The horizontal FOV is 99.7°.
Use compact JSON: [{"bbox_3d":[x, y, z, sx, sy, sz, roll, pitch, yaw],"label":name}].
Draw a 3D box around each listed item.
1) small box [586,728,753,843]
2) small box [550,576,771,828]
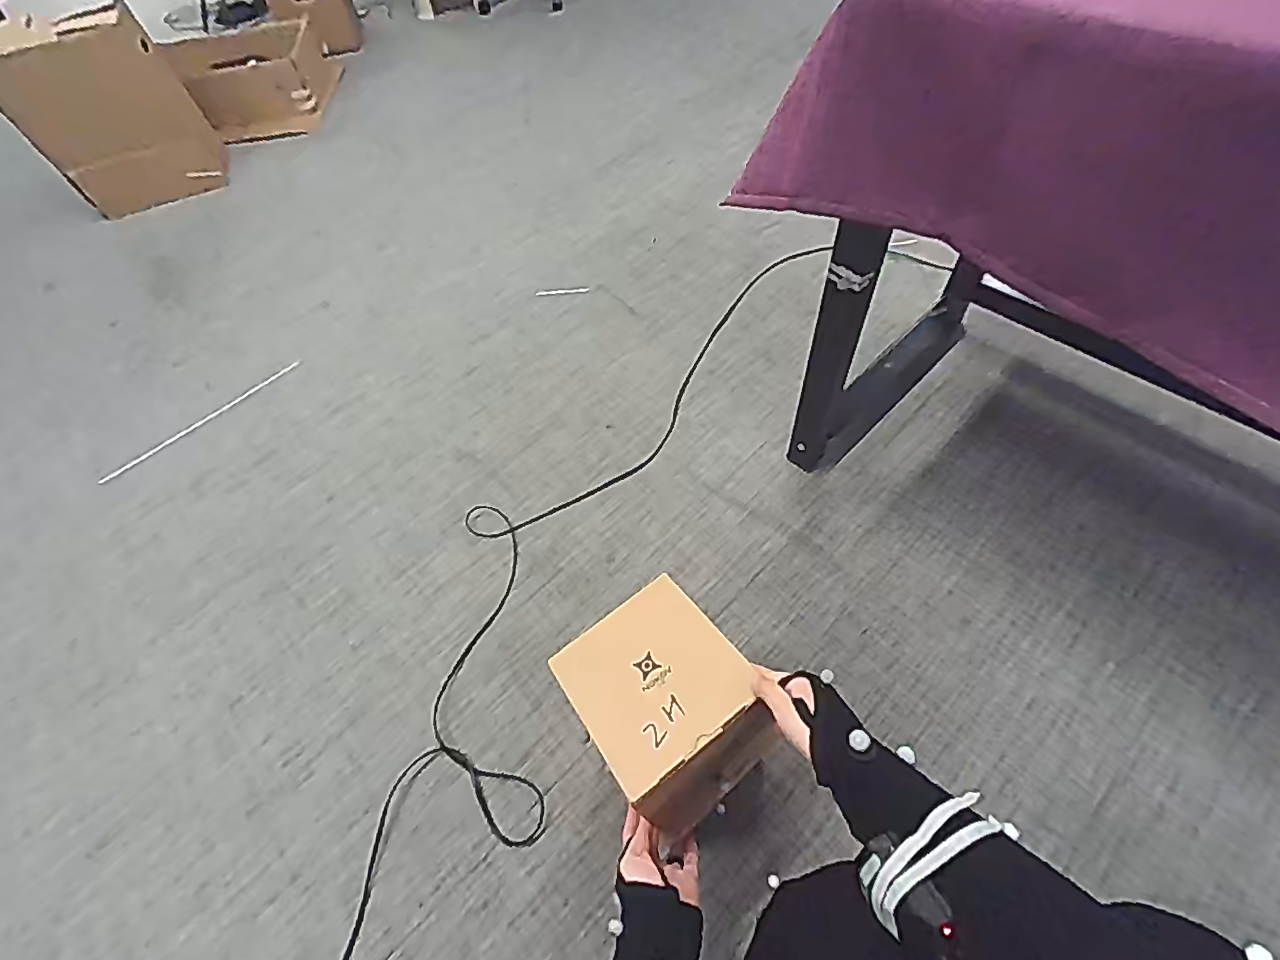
[{"bbox_3d":[0.053,0.365,0.747,0.179,0.176,0.168,-37,61,-18],"label":"small box"},{"bbox_3d":[0.028,0.251,0.610,0.168,0.176,0.179,-34,49,-14],"label":"small box"}]
